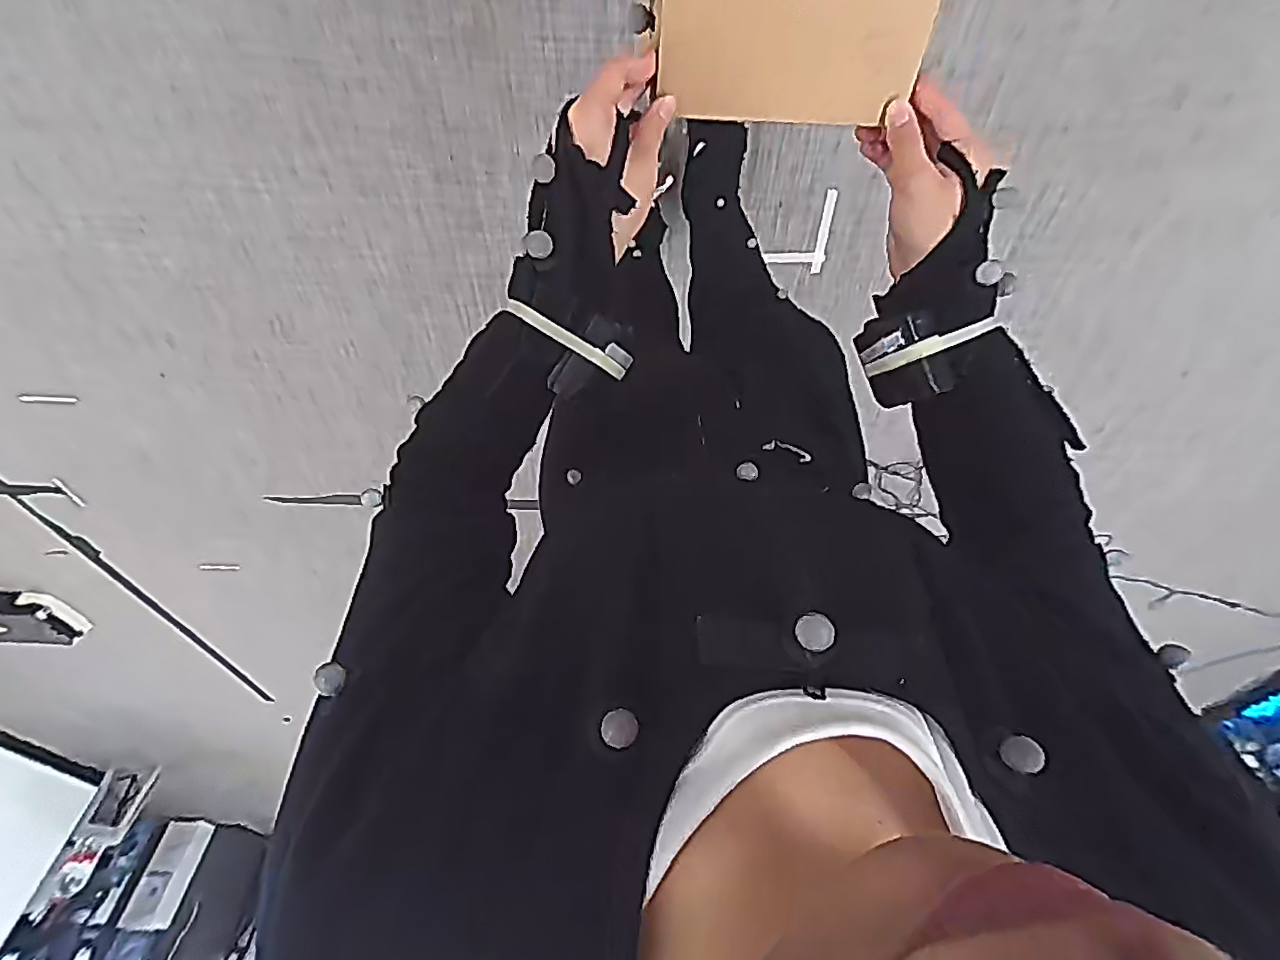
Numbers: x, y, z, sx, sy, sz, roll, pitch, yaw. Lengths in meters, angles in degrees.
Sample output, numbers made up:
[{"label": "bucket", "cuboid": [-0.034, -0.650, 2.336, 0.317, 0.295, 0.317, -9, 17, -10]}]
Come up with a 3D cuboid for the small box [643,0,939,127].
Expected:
[{"label": "small box", "cuboid": [0.092, -0.355, 0.352, 0.168, 0.176, 0.179, -1, 134, -5]}]
